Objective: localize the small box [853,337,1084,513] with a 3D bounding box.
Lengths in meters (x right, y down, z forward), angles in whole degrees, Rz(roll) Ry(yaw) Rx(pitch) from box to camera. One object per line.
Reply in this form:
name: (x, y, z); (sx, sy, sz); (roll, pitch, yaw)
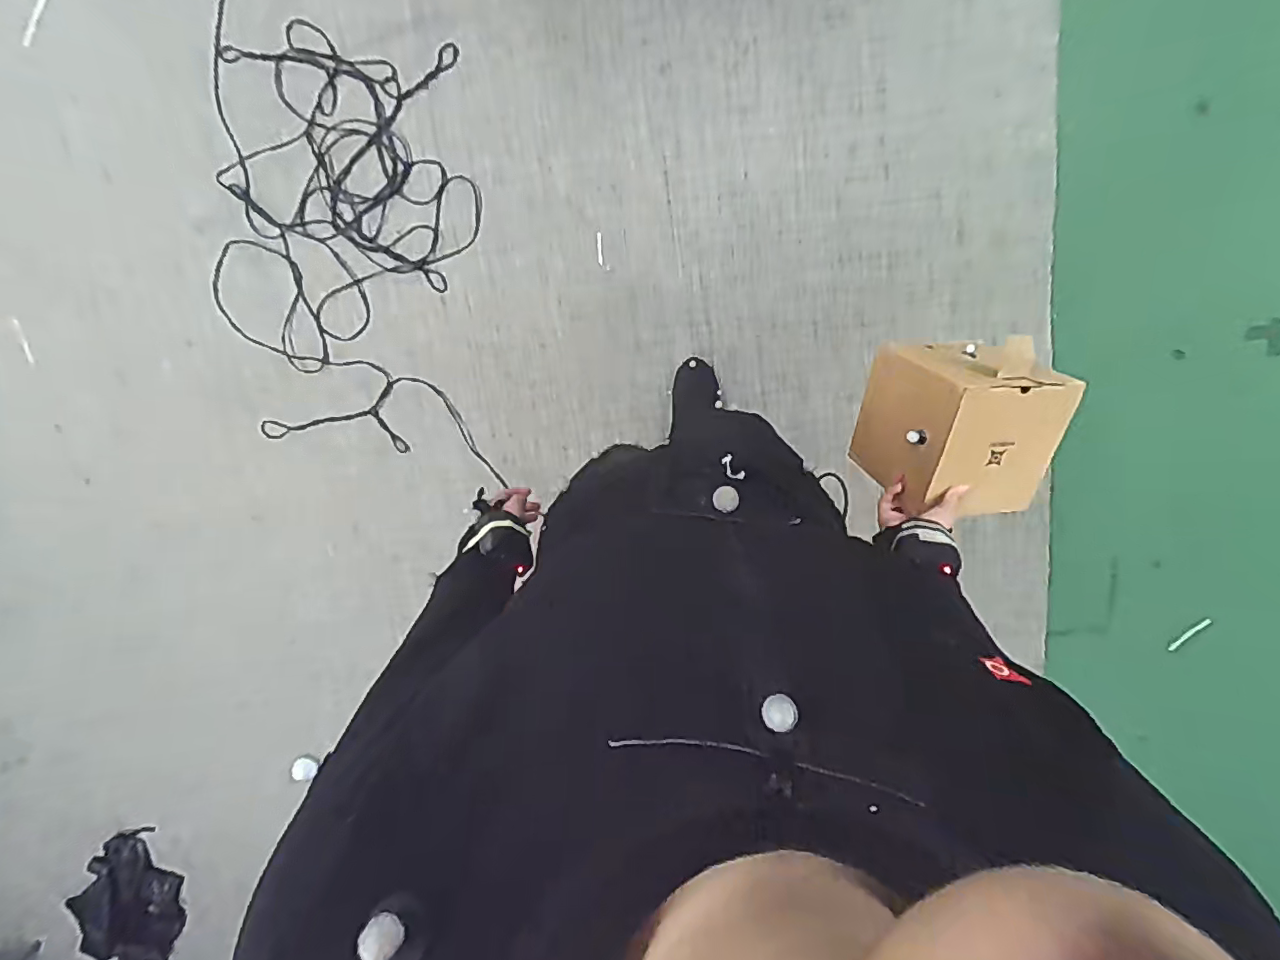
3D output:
small box: (0.407, -0.077, 0.708); (0.168, 0.176, 0.179); (-4, 120, -12)
